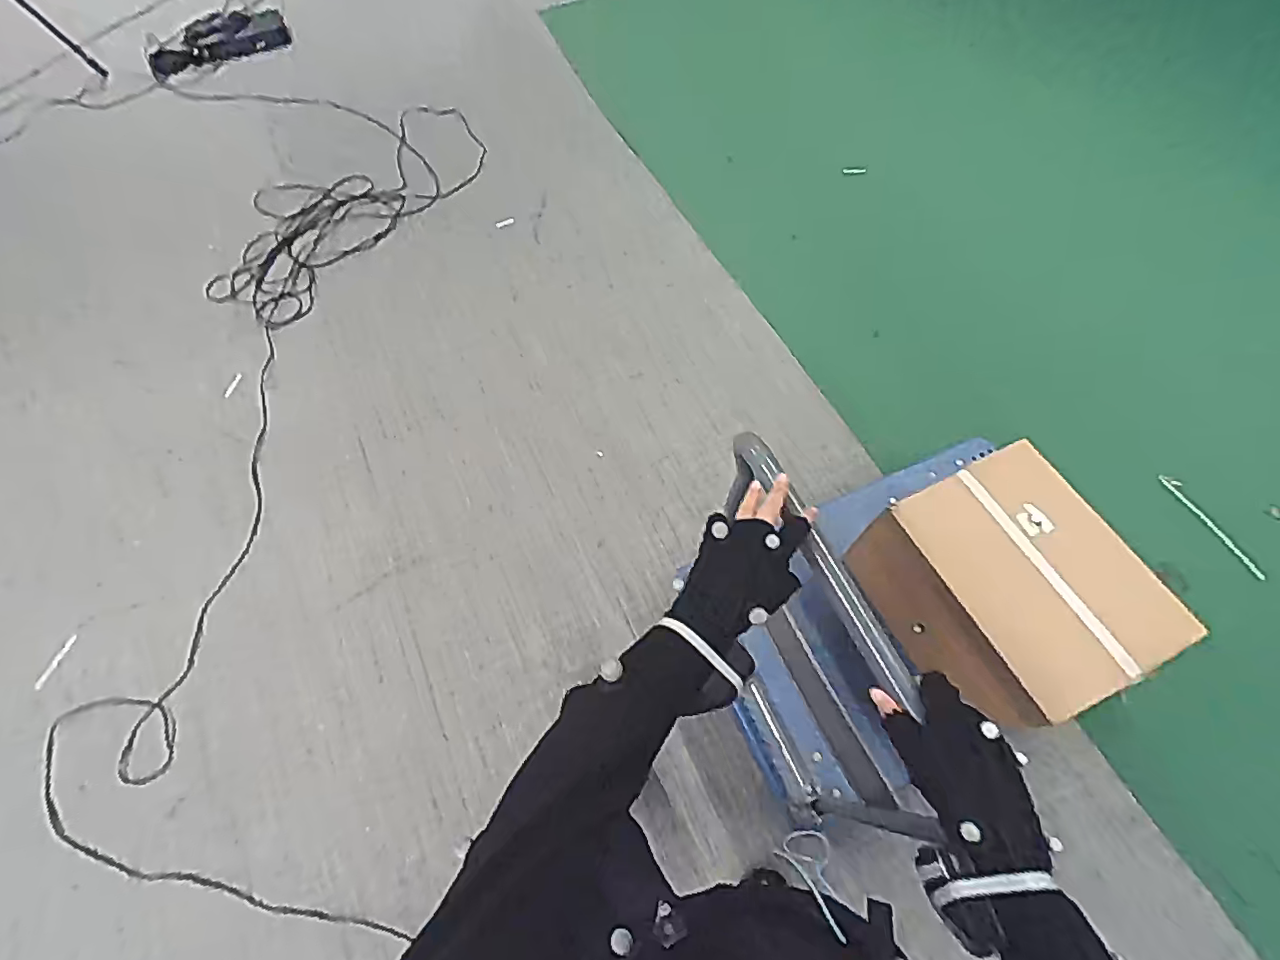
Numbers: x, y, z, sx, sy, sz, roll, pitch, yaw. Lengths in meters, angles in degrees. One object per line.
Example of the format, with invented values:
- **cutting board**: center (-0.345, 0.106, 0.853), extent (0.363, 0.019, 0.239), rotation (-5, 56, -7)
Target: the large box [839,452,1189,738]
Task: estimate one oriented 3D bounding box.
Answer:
- **large box**: center (0.661, 0.231, 1.049), extent (0.320, 0.320, 0.408), rotation (-24, 63, -8)
